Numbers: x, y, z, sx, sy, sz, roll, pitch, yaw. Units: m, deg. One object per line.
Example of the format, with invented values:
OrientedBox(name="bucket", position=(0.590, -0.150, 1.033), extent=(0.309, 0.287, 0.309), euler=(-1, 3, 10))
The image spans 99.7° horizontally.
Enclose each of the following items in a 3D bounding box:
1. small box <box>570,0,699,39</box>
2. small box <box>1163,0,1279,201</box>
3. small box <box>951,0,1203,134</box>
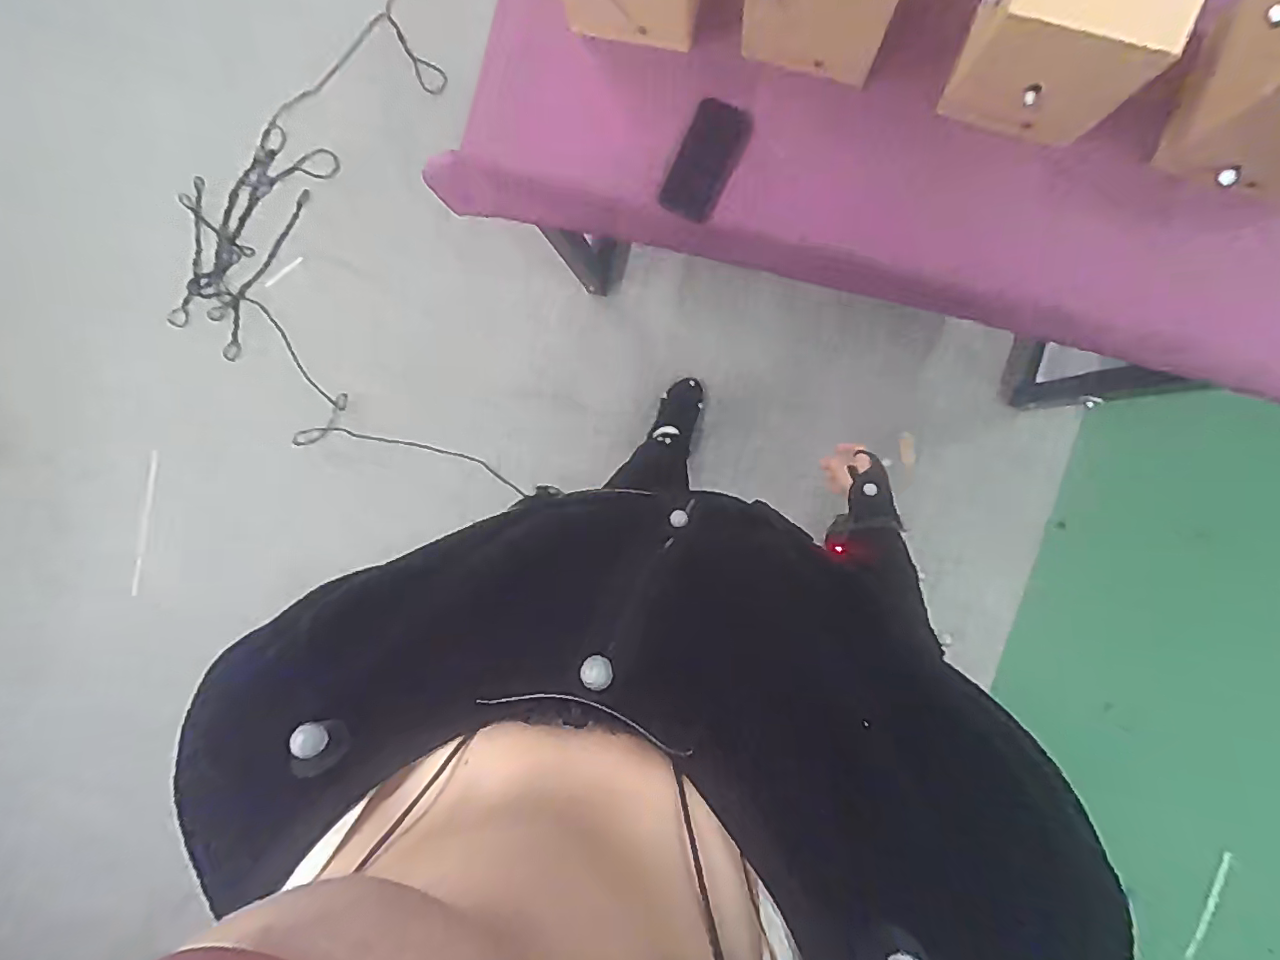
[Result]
OrientedBox(name="small box", position=(-0.004, -0.670, 0.632), extent=(0.168, 0.176, 0.179), euler=(14, 95, 6))
OrientedBox(name="small box", position=(0.716, -0.431, 0.559), extent=(0.168, 0.176, 0.179), euler=(22, 96, 6))
OrientedBox(name="small box", position=(0.471, -0.518, 0.582), extent=(0.168, 0.176, 0.179), euler=(20, 96, 5))
